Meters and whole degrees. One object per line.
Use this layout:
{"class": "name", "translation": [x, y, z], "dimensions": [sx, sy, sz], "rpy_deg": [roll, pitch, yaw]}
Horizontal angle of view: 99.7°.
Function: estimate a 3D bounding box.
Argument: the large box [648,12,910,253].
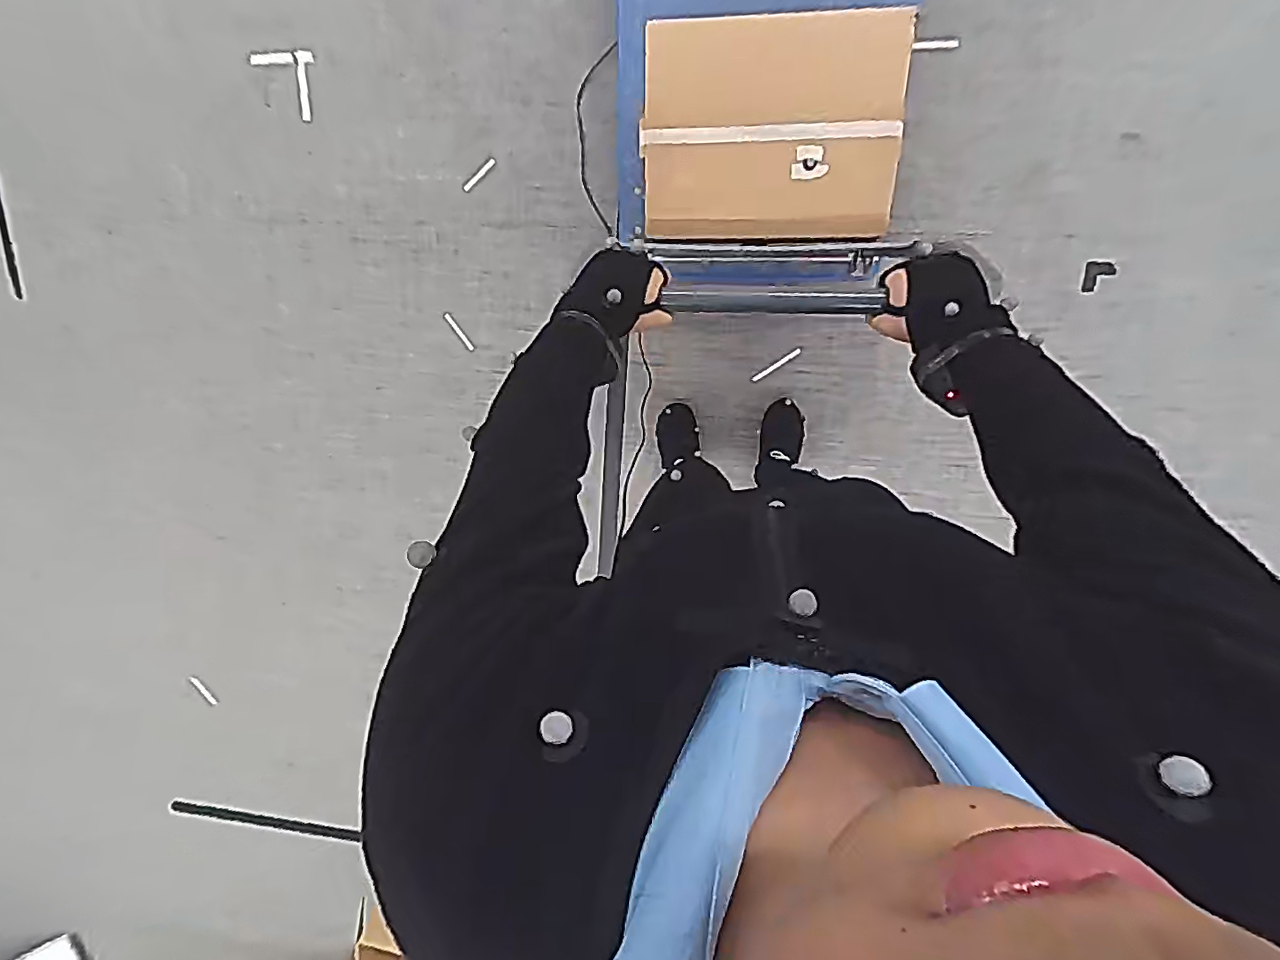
{"class": "large box", "translation": [0.228, -0.611, 1.022], "dimensions": [0.408, 0.320, 0.320], "rpy_deg": [2, 110, 6]}
